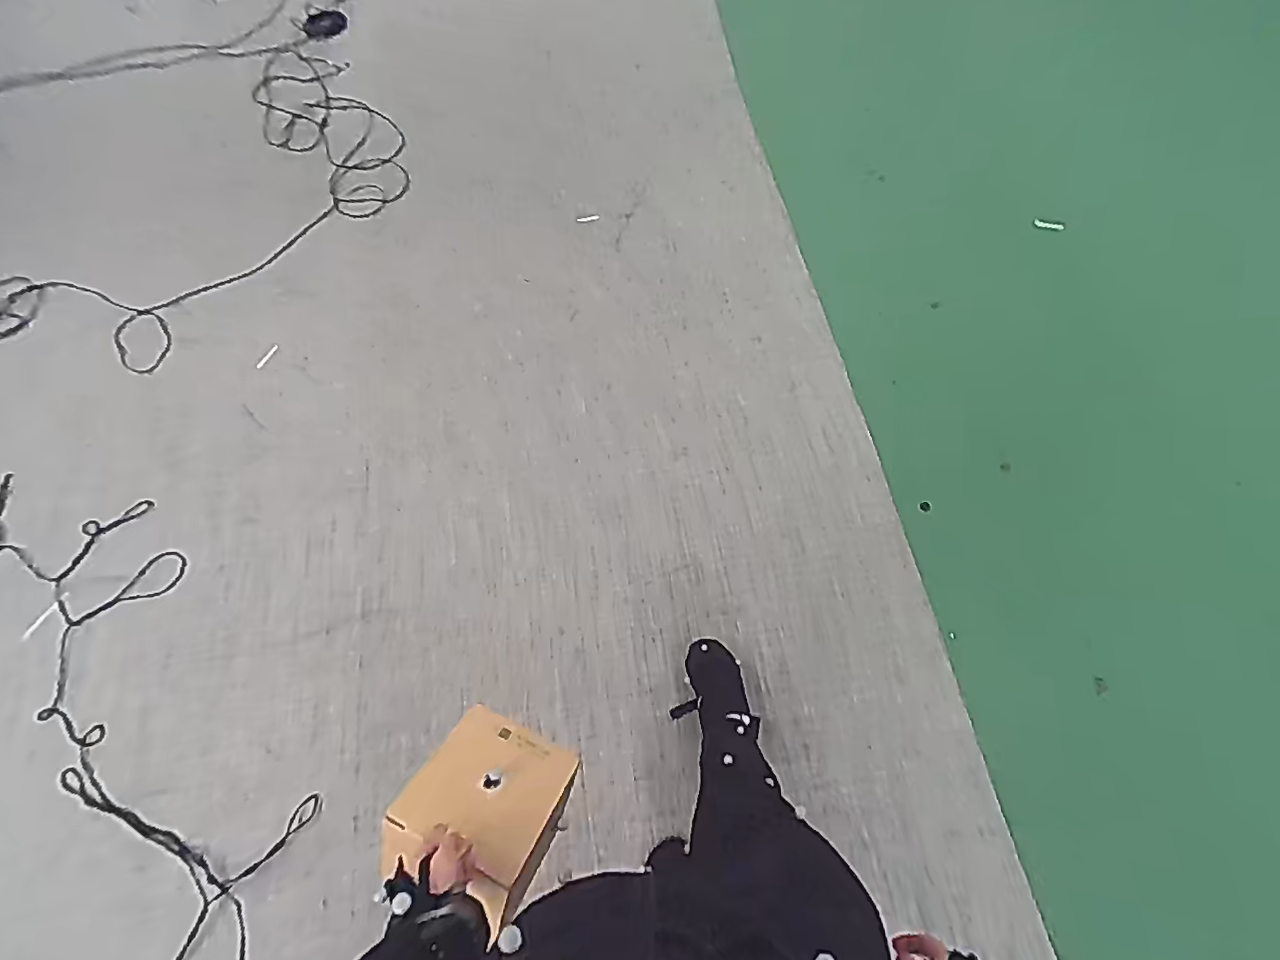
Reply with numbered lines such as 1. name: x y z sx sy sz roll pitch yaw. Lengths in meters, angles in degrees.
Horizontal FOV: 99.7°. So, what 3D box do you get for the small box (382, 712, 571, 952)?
1. small box: -0.203 0.438 0.695 0.168 0.179 0.176 21 30 10
